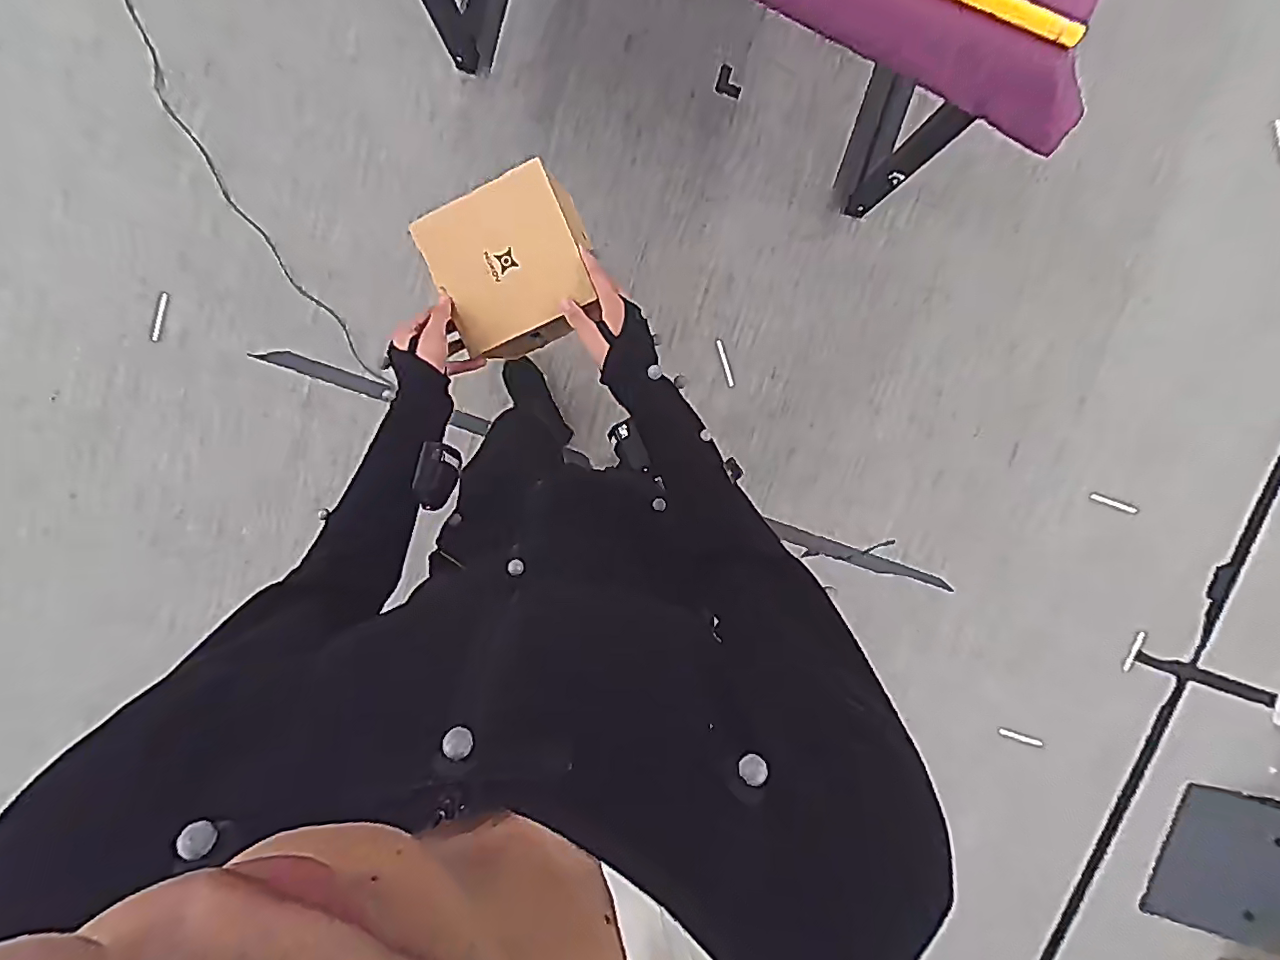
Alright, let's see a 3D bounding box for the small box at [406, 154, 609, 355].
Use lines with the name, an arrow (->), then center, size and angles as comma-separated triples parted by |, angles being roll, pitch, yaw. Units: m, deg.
small box -> -0.150, -0.271, 0.690 | 0.179, 0.176, 0.168 | -21, 100, 11
